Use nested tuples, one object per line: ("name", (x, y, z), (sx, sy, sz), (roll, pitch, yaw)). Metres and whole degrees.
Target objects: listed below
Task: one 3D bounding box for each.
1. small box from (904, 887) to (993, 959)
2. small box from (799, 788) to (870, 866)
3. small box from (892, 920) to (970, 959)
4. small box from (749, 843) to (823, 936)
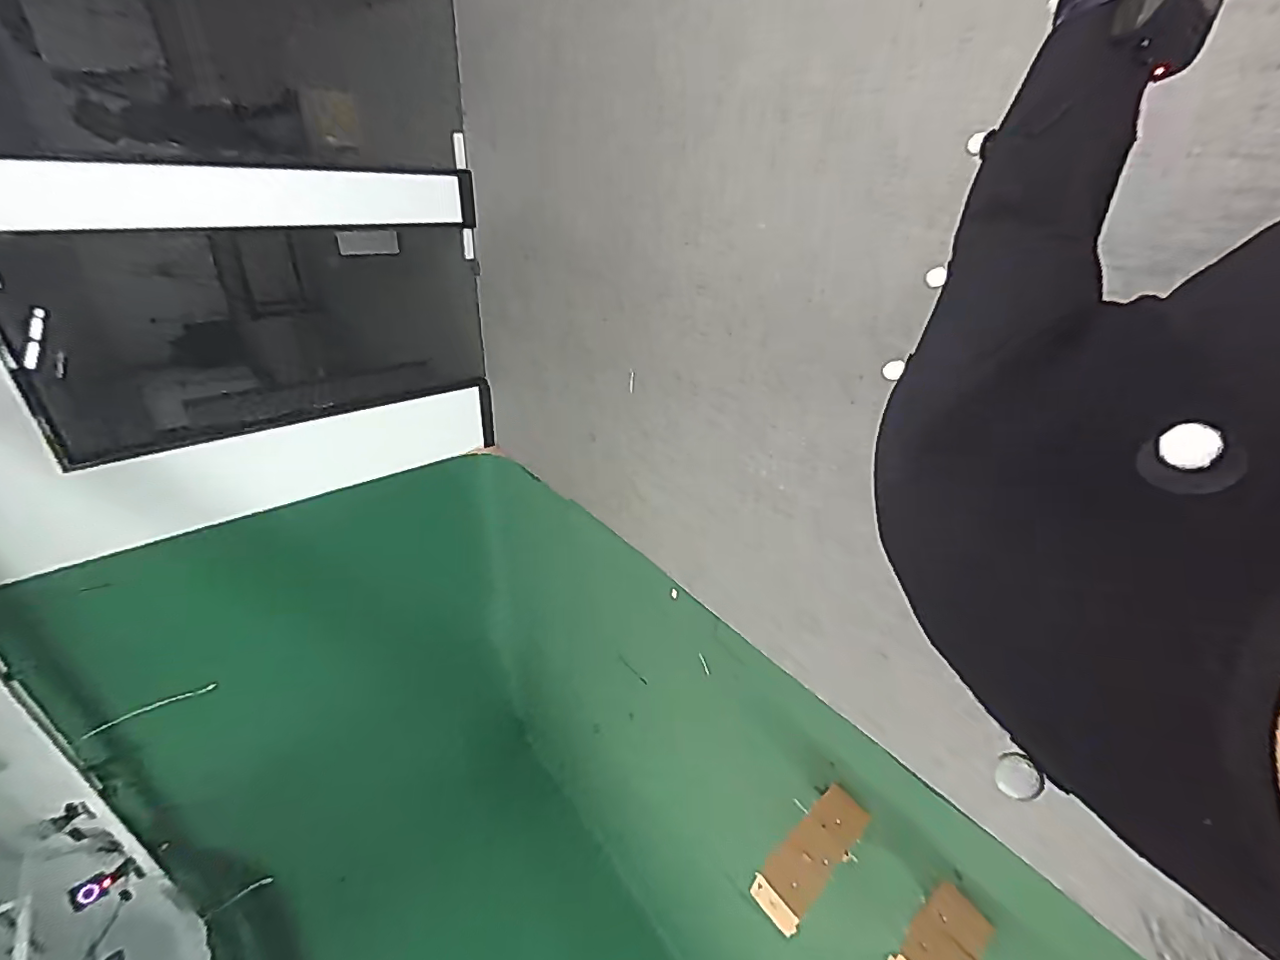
("small box", (1.046, 1.529, 1.832), (0.179, 0.176, 0.168), (39, 135, 34))
("small box", (0.760, 1.344, 2.114), (0.179, 0.176, 0.168), (37, 133, 36))
("small box", (0.925, 1.566, 1.730), (0.179, 0.176, 0.168), (31, 130, 40))
("small box", (0.518, 1.445, 1.915), (0.179, 0.176, 0.168), (36, 133, 36))
